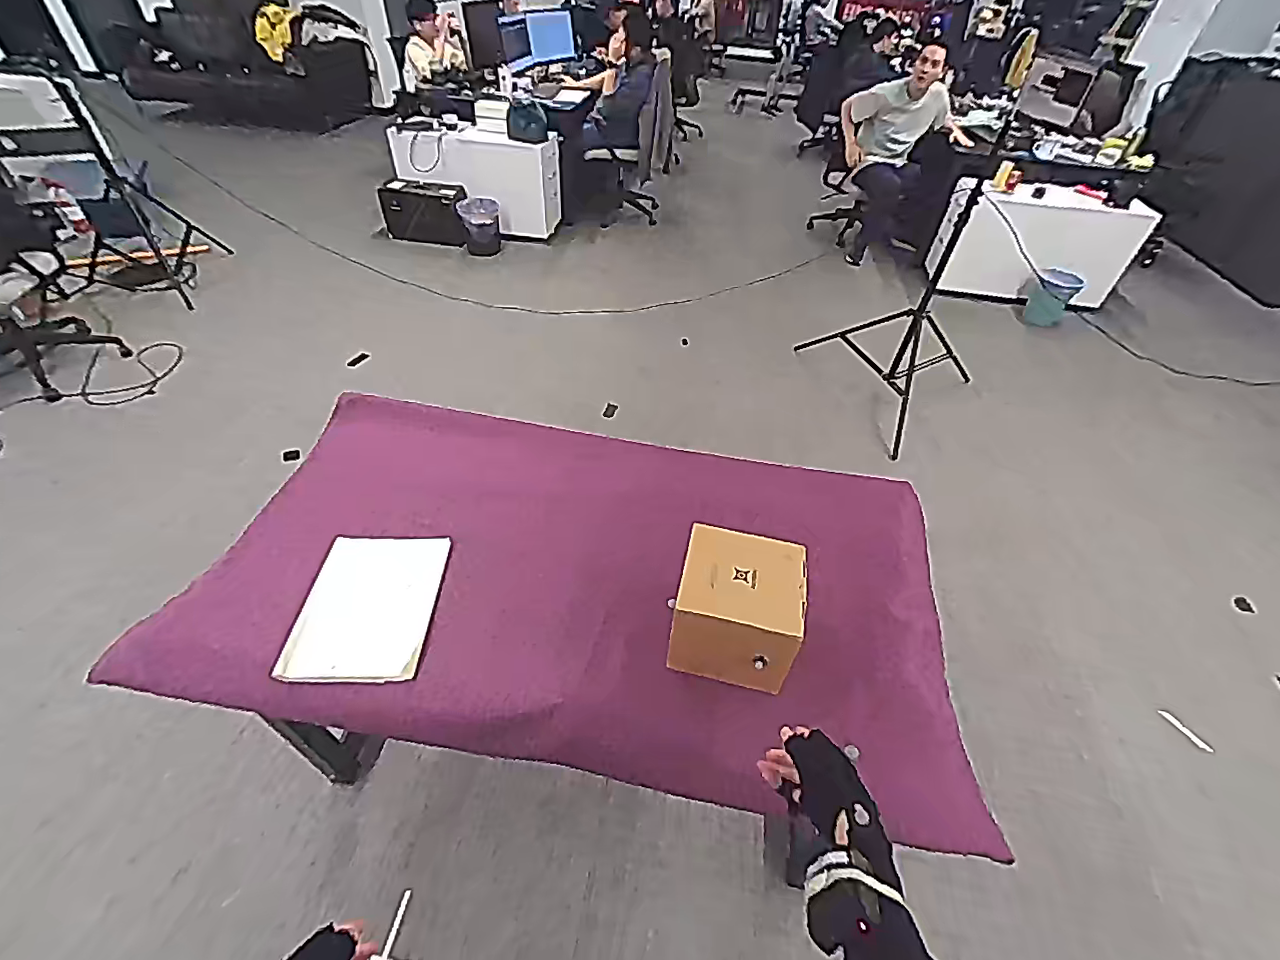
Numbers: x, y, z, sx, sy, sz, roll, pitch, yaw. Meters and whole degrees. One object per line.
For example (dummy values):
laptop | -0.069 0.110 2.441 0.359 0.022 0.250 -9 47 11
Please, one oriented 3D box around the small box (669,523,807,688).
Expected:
small box | 0.147 0.194 0.828 0.179 0.176 0.168 10 42 8
